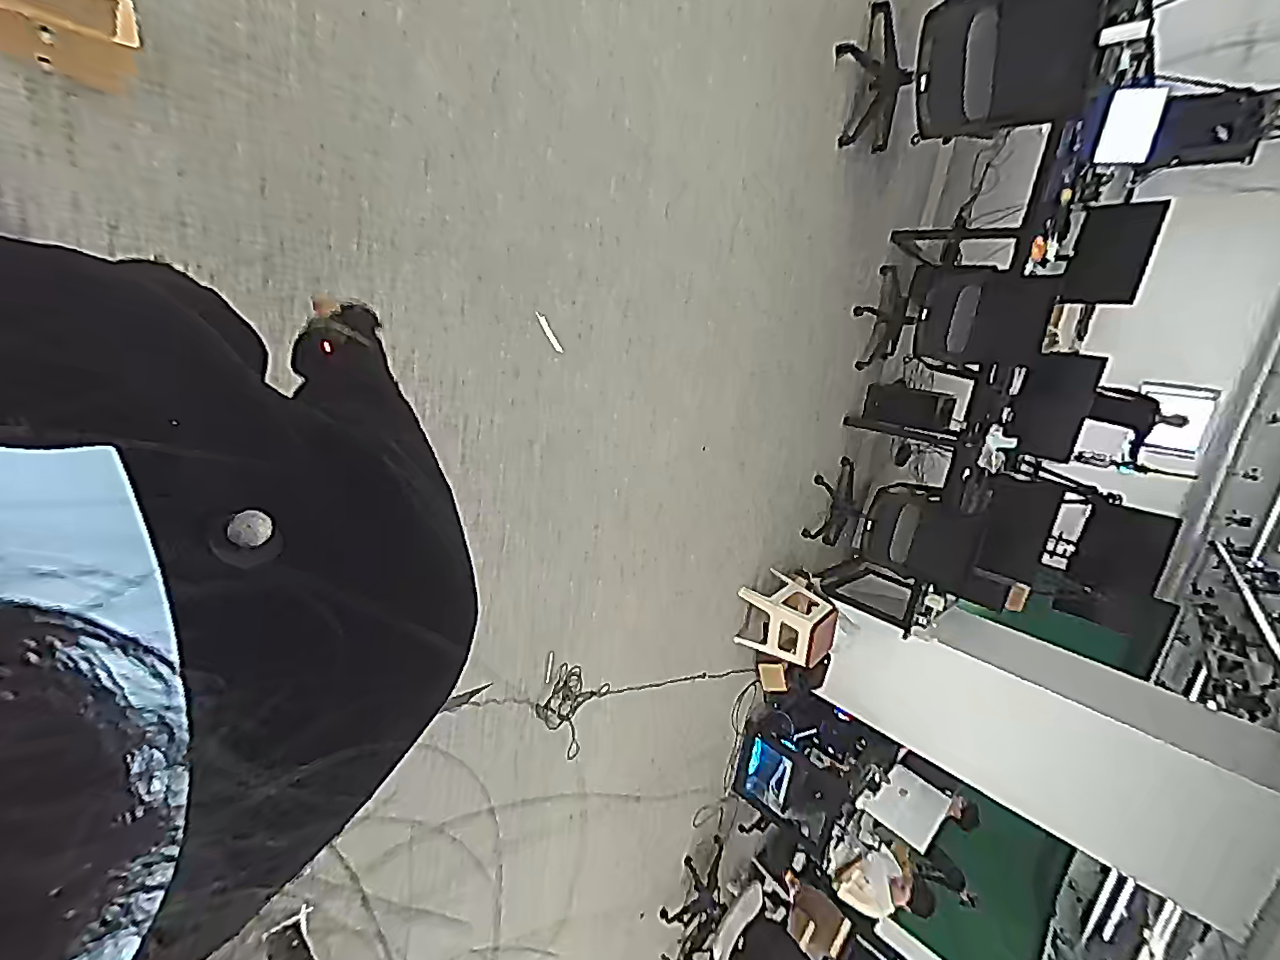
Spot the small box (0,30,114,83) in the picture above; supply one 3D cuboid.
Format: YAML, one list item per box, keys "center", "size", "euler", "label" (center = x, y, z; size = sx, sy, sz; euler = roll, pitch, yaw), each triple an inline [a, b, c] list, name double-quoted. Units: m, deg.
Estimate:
- center: [-0.938, -0.766, 0.846]
  size: [0.168, 0.176, 0.179]
  euler: [0, 106, -48]
  label: "small box"

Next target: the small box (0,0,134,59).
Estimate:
- center: [-0.829, -0.712, 0.738]
  size: [0.179, 0.176, 0.168]
  euler: [-11, 114, -44]
  label: "small box"
